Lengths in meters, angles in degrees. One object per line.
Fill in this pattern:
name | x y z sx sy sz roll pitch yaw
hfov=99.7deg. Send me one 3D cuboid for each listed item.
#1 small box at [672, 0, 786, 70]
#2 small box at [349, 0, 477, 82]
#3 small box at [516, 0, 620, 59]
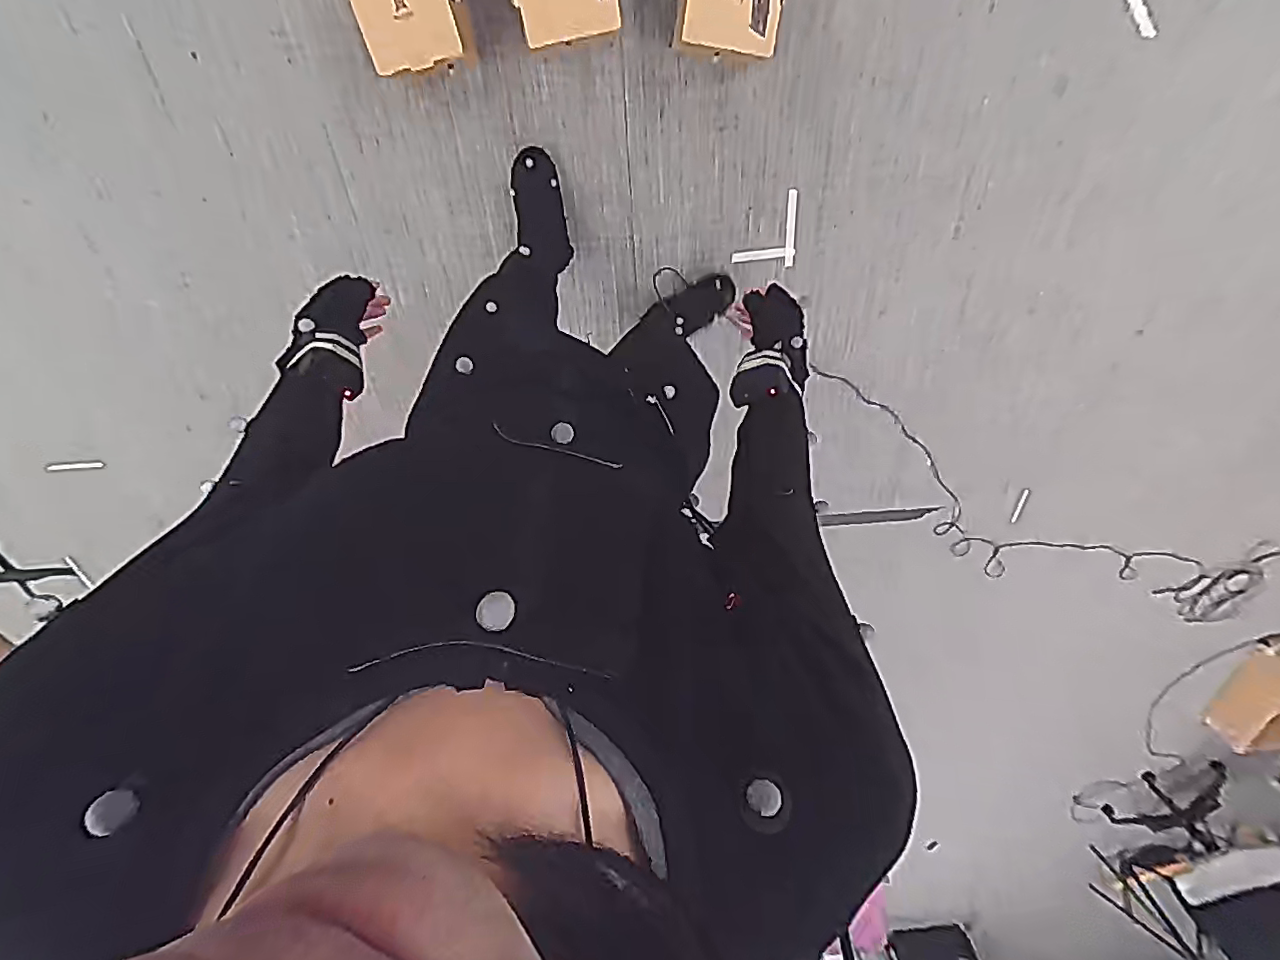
small box | 0.167 -0.894 1.020 0.179 0.176 0.168 6 122 -7
small box | -0.417 -0.857 0.997 0.168 0.176 0.179 -13 122 3
small box | -0.135 -0.897 0.993 0.179 0.176 0.168 -10 124 3
